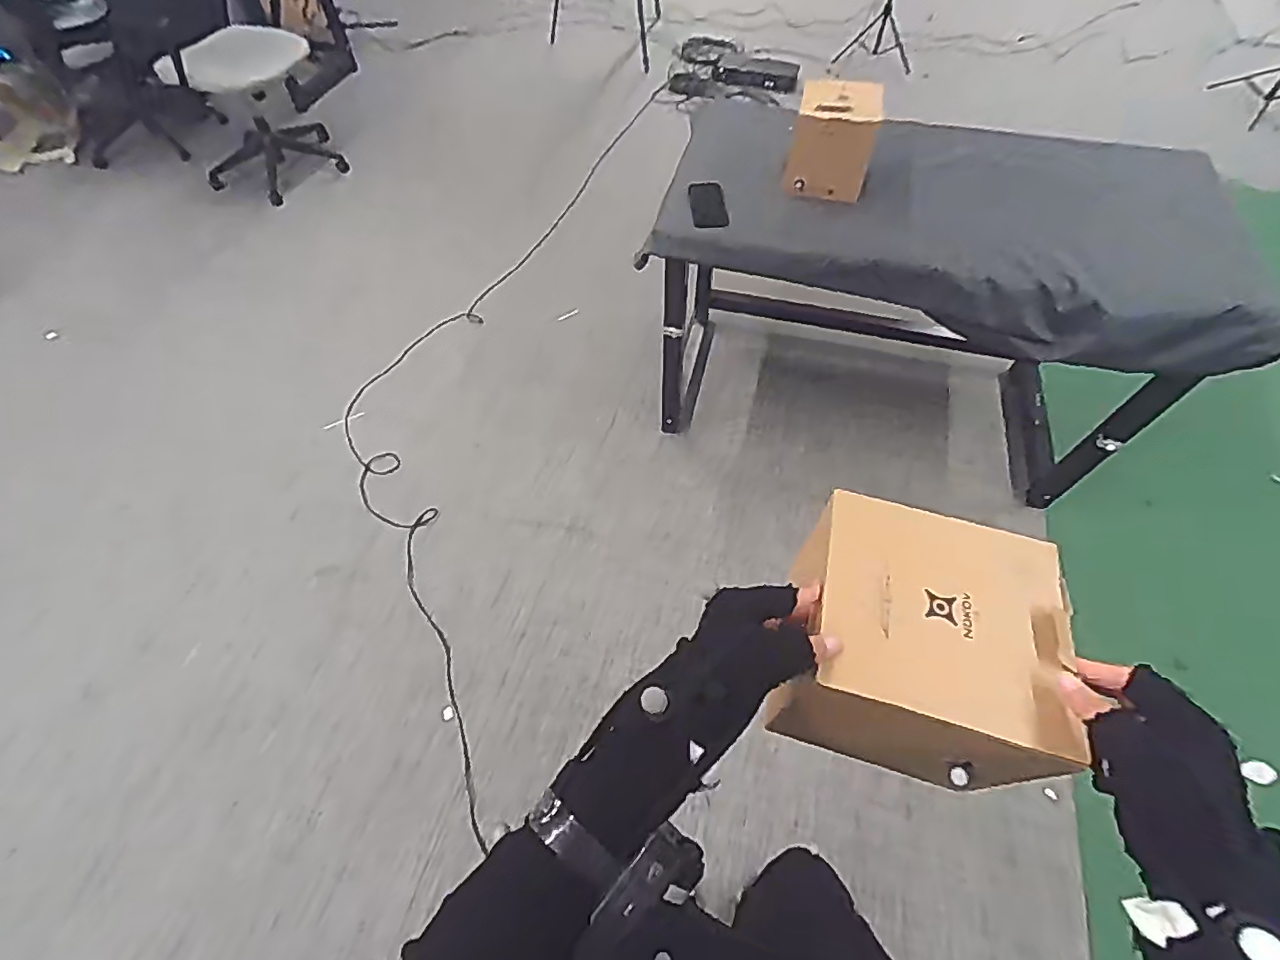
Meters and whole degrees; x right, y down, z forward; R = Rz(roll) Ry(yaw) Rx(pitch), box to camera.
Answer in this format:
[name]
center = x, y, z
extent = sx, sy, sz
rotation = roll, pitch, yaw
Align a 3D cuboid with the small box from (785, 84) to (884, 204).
[small box]
center = 0.426, -0.742, 1.200
extent = 0.168, 0.176, 0.179
rotation = 12, 57, 8
